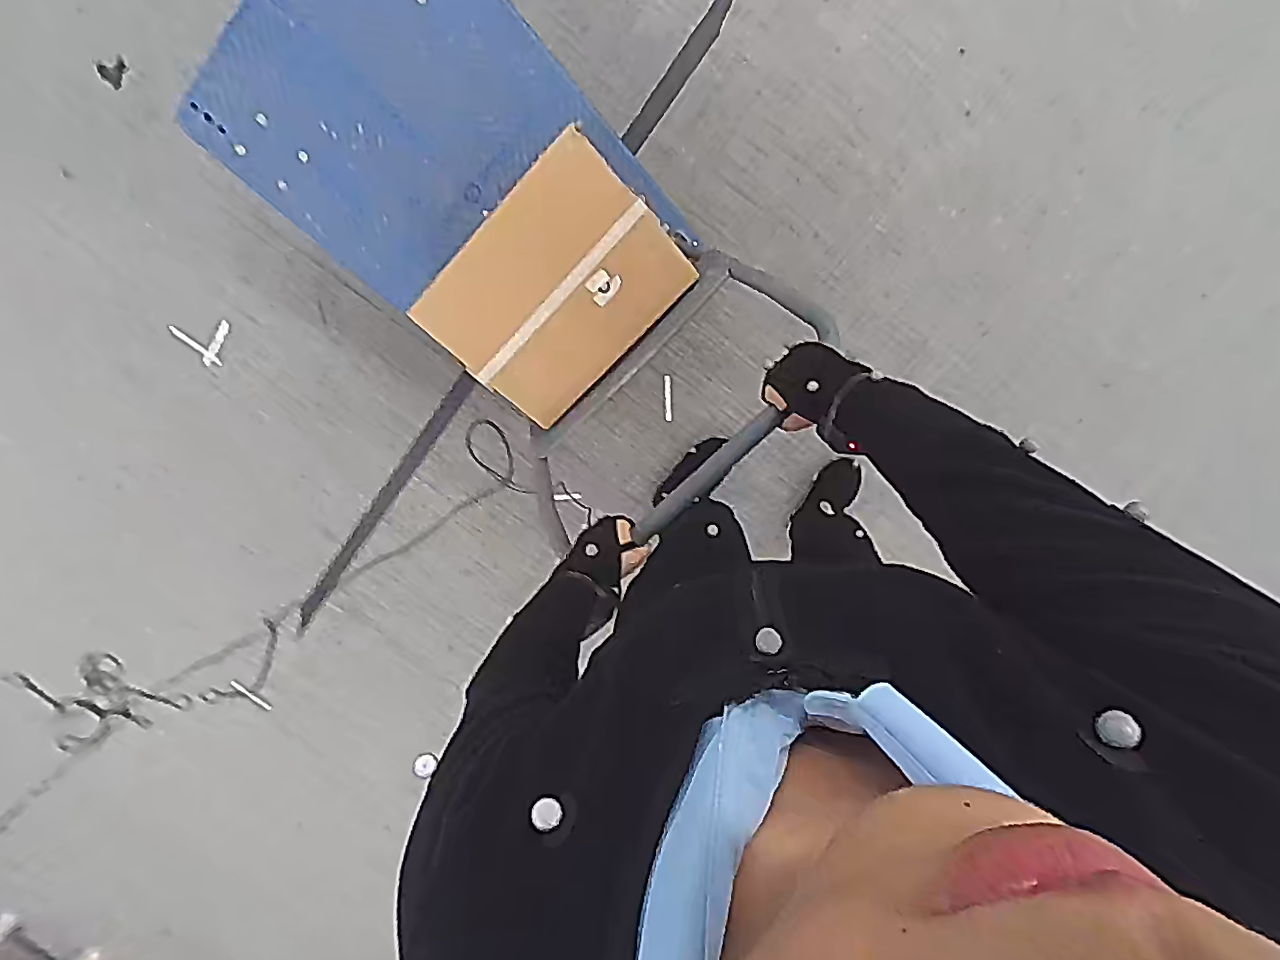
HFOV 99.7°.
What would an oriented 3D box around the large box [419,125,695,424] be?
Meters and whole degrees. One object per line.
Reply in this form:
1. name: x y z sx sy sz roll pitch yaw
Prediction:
1. large box: -0.167 -0.393 1.073 0.408 0.320 0.320 -44 118 11
